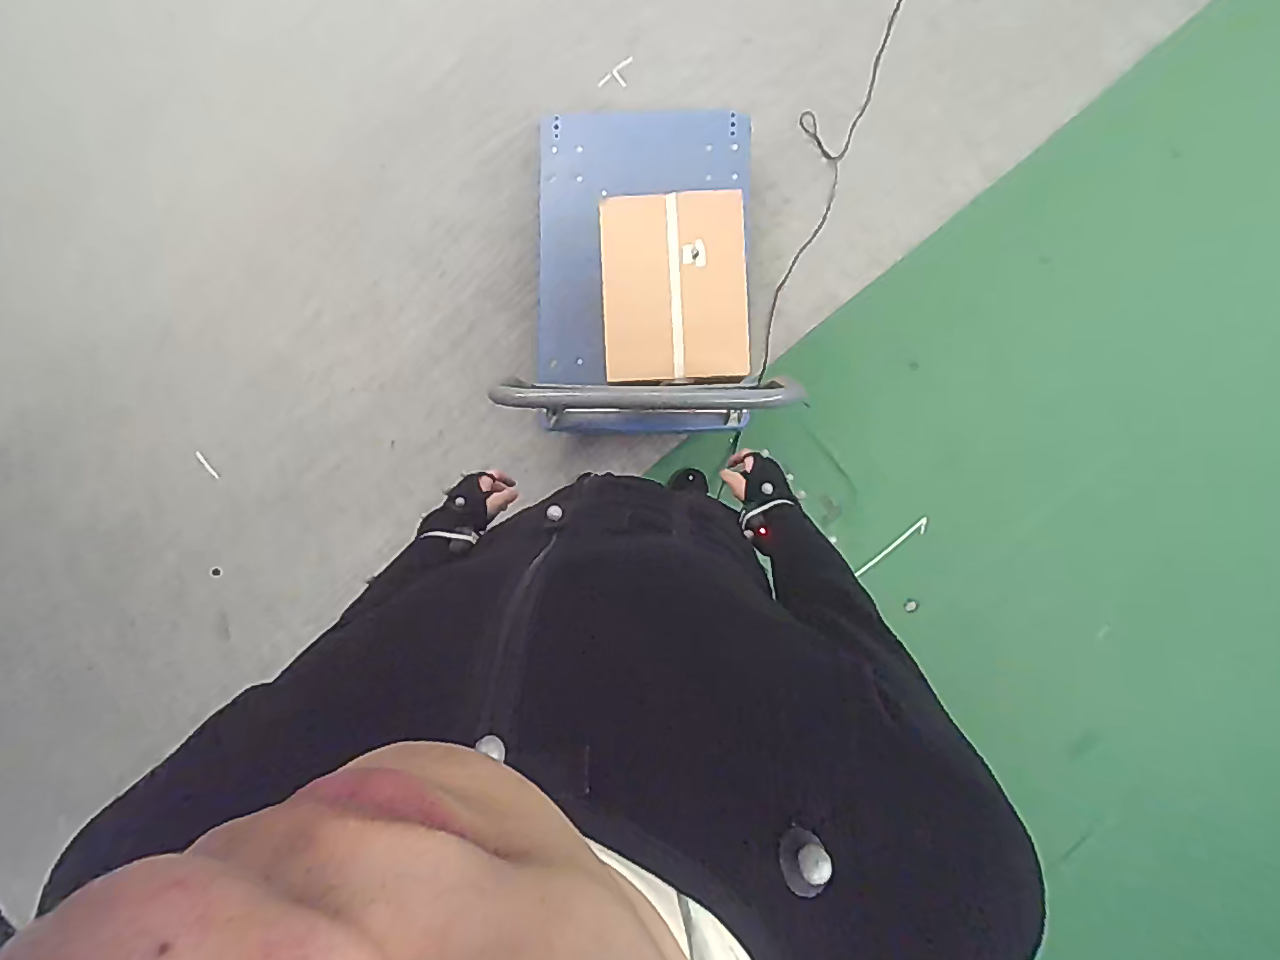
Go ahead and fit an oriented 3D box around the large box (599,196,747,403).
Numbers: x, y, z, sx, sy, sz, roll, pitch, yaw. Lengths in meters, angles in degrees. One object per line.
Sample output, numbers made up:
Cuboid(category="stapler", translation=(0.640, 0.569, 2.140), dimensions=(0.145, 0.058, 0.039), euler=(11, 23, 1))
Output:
Cuboid(category="large box", translation=(0.076, -0.420, 1.340), dimensions=(0.320, 0.320, 0.408), euler=(-2, 90, 0))
